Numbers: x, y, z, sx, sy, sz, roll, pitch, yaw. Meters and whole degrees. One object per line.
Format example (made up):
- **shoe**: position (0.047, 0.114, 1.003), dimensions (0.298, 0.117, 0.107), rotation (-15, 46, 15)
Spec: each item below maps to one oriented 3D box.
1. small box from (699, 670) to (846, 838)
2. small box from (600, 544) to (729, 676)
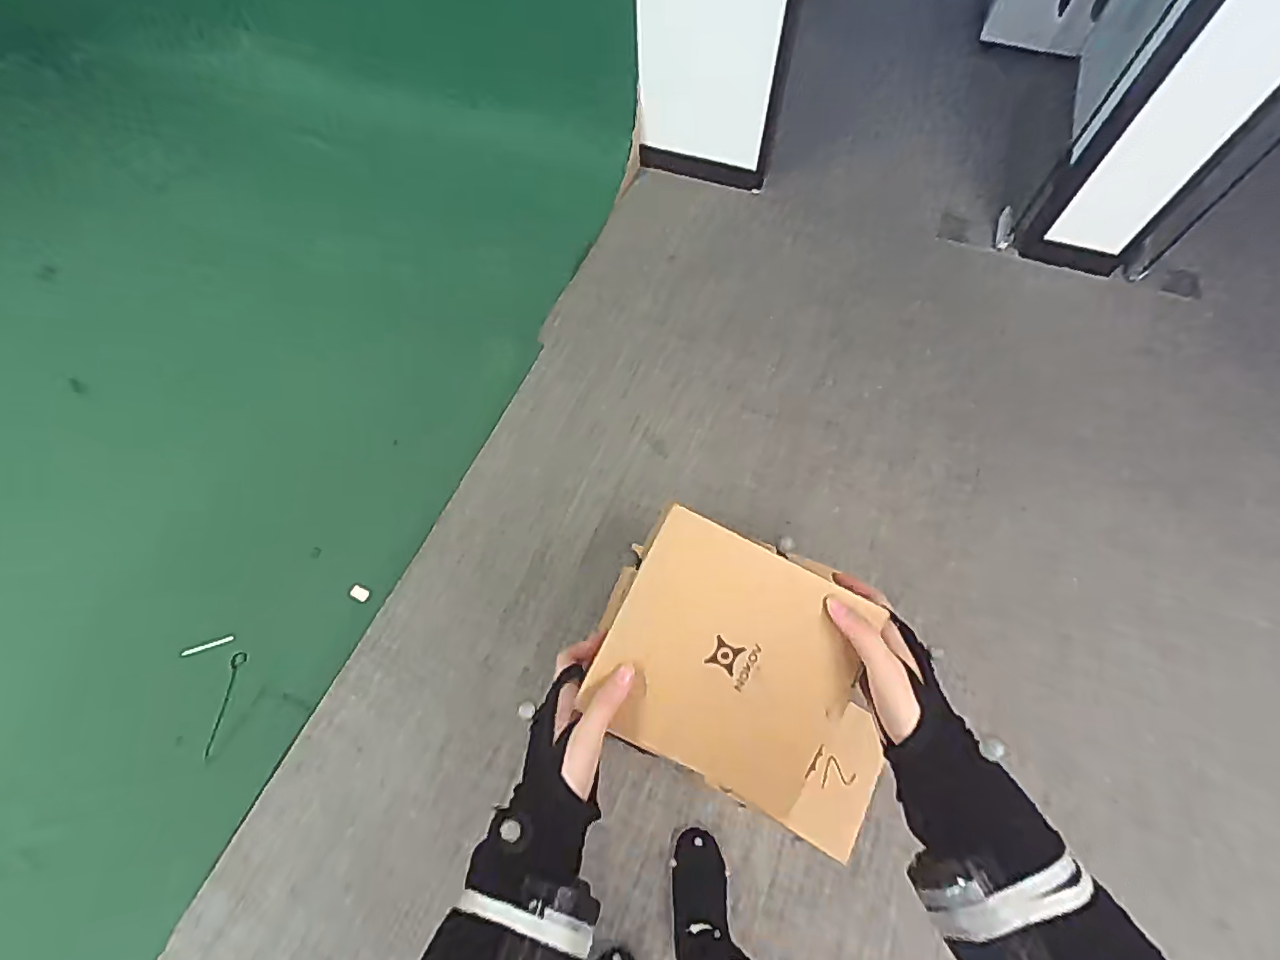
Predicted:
- **small box**: position (0.204, 0.435, 0.875), dimensions (0.168, 0.176, 0.179), rotation (24, 66, 12)
- **small box**: position (0.045, 0.242, 0.979), dimensions (0.179, 0.176, 0.168), rotation (18, 64, 11)
